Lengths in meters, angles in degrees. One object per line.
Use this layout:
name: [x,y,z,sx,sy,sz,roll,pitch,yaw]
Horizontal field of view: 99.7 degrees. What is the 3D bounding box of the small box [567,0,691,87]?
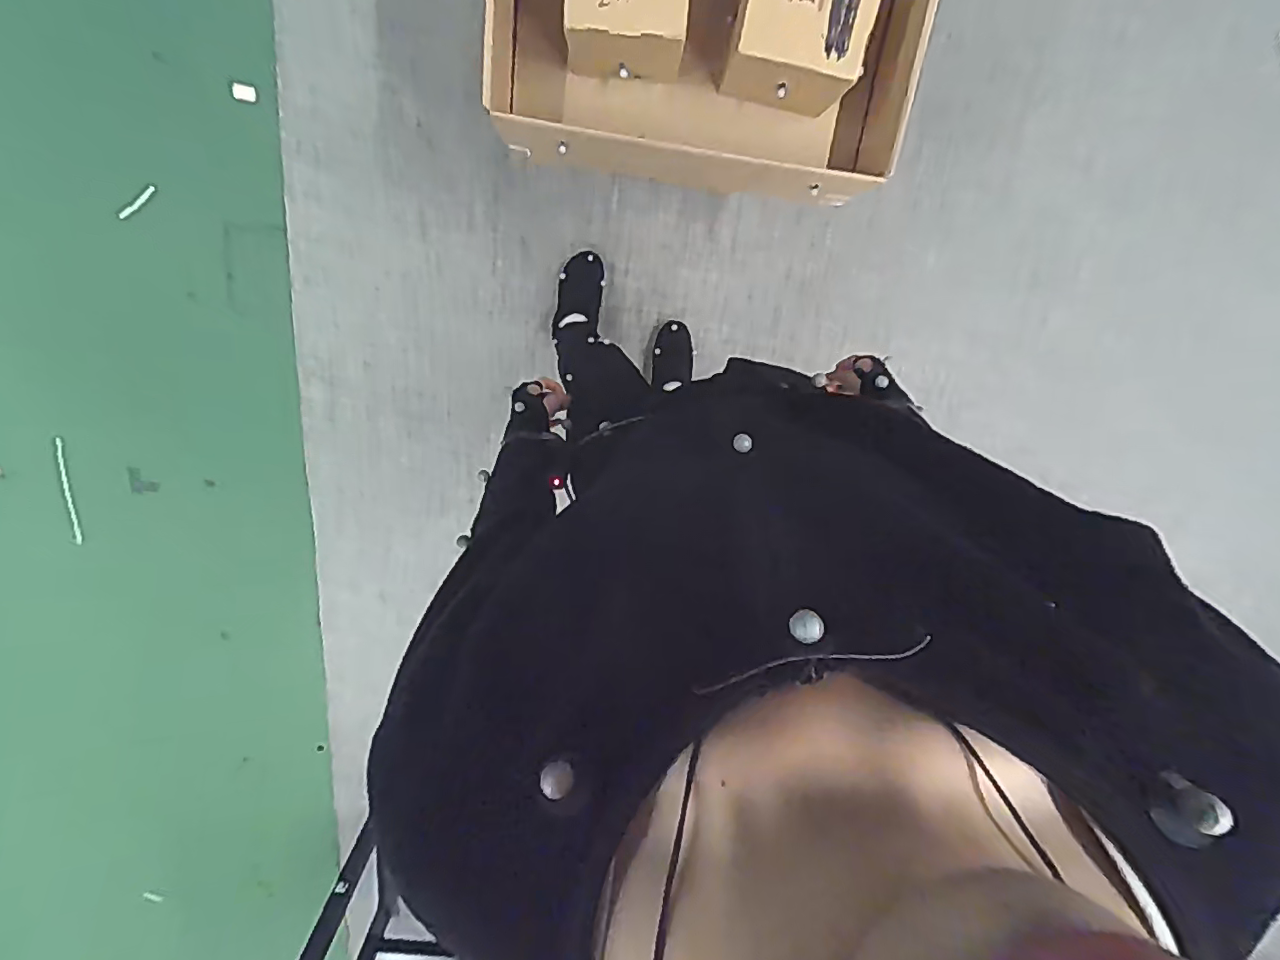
small box: [-0.013,-0.703,0.774,0.168,0.176,0.179,3,108,-3]
